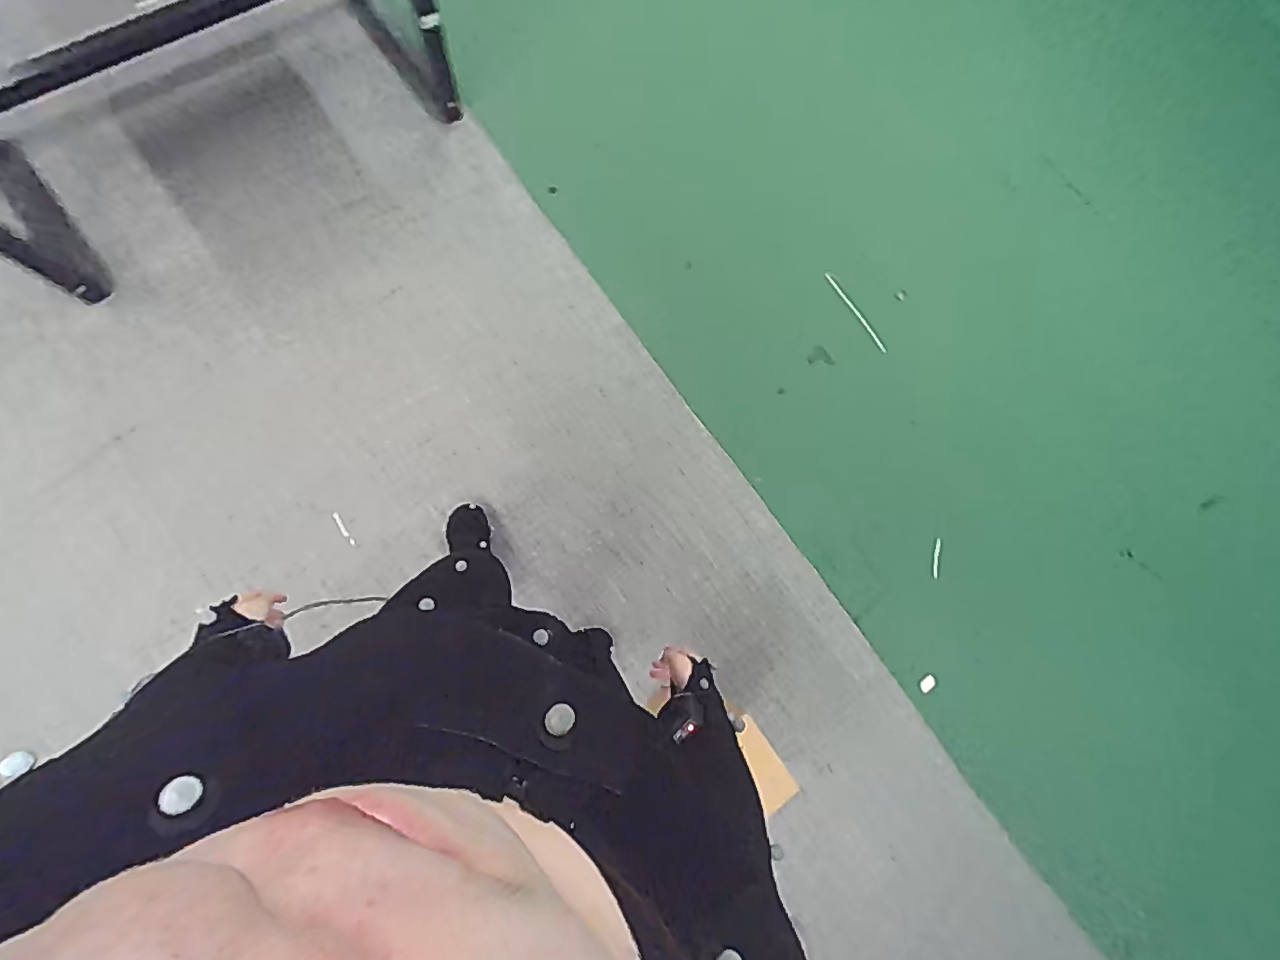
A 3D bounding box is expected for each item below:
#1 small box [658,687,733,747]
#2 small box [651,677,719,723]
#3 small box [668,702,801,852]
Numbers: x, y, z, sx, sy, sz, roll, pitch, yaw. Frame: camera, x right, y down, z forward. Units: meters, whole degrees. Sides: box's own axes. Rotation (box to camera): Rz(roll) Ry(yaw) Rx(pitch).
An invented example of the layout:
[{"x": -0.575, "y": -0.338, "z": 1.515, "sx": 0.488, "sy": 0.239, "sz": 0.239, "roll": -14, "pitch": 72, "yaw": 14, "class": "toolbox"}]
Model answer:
[{"x": 0.161, "y": 0.603, "z": 1.236, "sx": 0.168, "sy": 0.176, "sz": 0.179, "roll": -34, "pitch": 85, "yaw": -12, "class": "small box"}, {"x": 0.145, "y": 0.631, "z": 1.395, "sx": 0.168, "sy": 0.176, "sz": 0.179, "roll": -31, "pitch": 84, "yaw": -11, "class": "small box"}, {"x": 0.178, "y": 0.574, "z": 1.074, "sx": 0.168, "sy": 0.176, "sz": 0.179, "roll": -34, "pitch": 86, "yaw": -13, "class": "small box"}]
